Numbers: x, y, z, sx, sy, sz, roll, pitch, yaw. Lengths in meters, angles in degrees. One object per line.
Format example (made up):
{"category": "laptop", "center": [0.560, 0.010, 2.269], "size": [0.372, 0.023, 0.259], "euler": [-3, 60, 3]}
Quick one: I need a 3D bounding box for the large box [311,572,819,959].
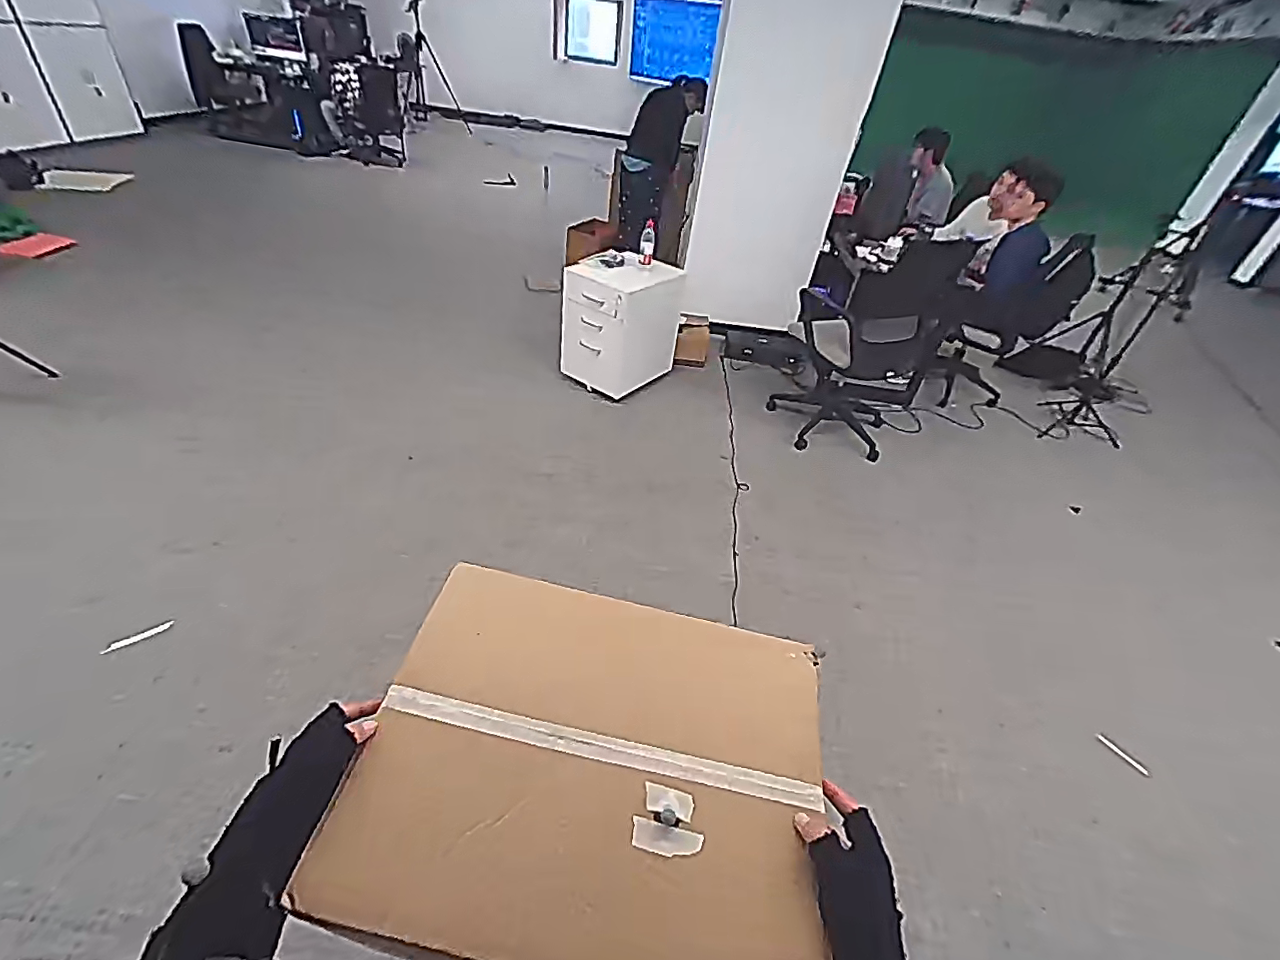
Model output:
{"category": "large box", "center": [-0.057, 0.353, 0.614], "size": [0.408, 0.320, 0.320], "euler": [13, 45, 2]}
